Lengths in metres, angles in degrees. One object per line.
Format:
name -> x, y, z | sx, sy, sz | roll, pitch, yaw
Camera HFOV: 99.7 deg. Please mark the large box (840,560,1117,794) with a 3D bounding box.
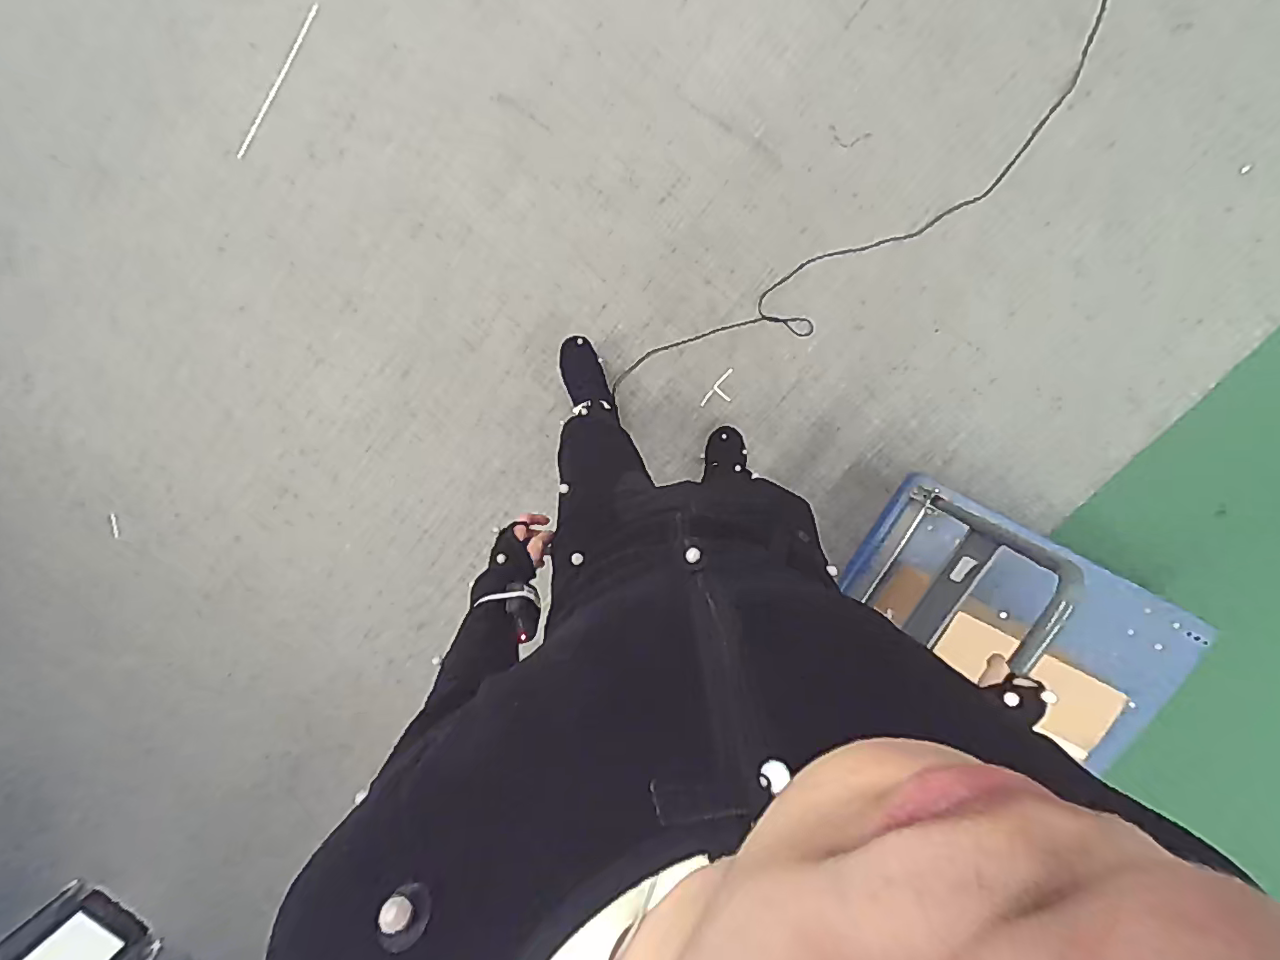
large box -> 0.770, 0.447, 1.304 | 0.408, 0.320, 0.320 | 27, 102, 0
